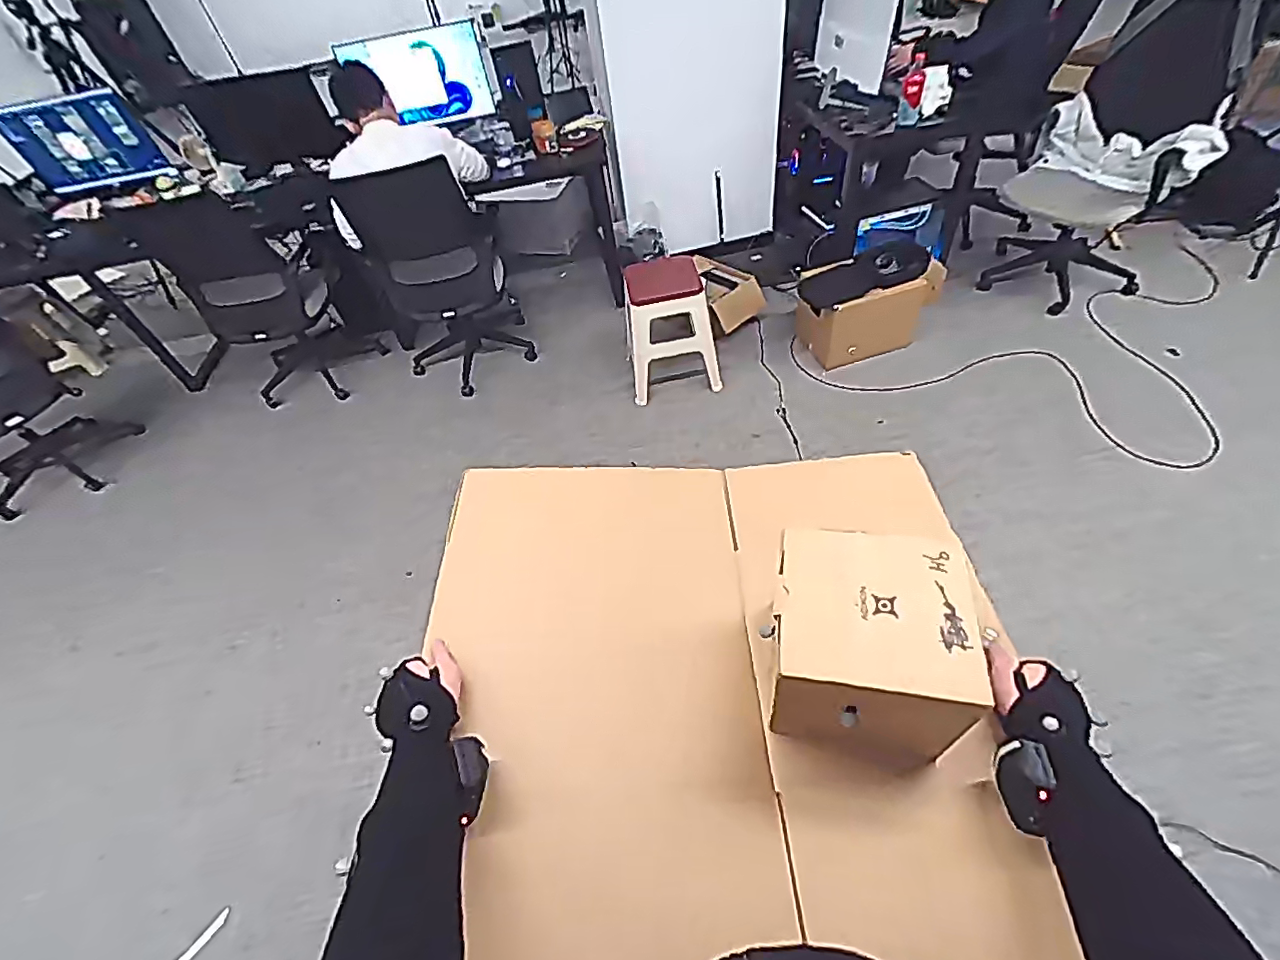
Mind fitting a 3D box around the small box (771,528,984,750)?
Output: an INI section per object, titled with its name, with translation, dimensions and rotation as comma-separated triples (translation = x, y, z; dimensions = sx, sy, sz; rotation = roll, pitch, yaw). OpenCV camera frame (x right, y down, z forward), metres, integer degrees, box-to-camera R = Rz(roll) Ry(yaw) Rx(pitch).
[small box]
translation = 0.235, 0.171, 0.581
dimensions = 0.179, 0.176, 0.168
rotation = 4, 50, 14
